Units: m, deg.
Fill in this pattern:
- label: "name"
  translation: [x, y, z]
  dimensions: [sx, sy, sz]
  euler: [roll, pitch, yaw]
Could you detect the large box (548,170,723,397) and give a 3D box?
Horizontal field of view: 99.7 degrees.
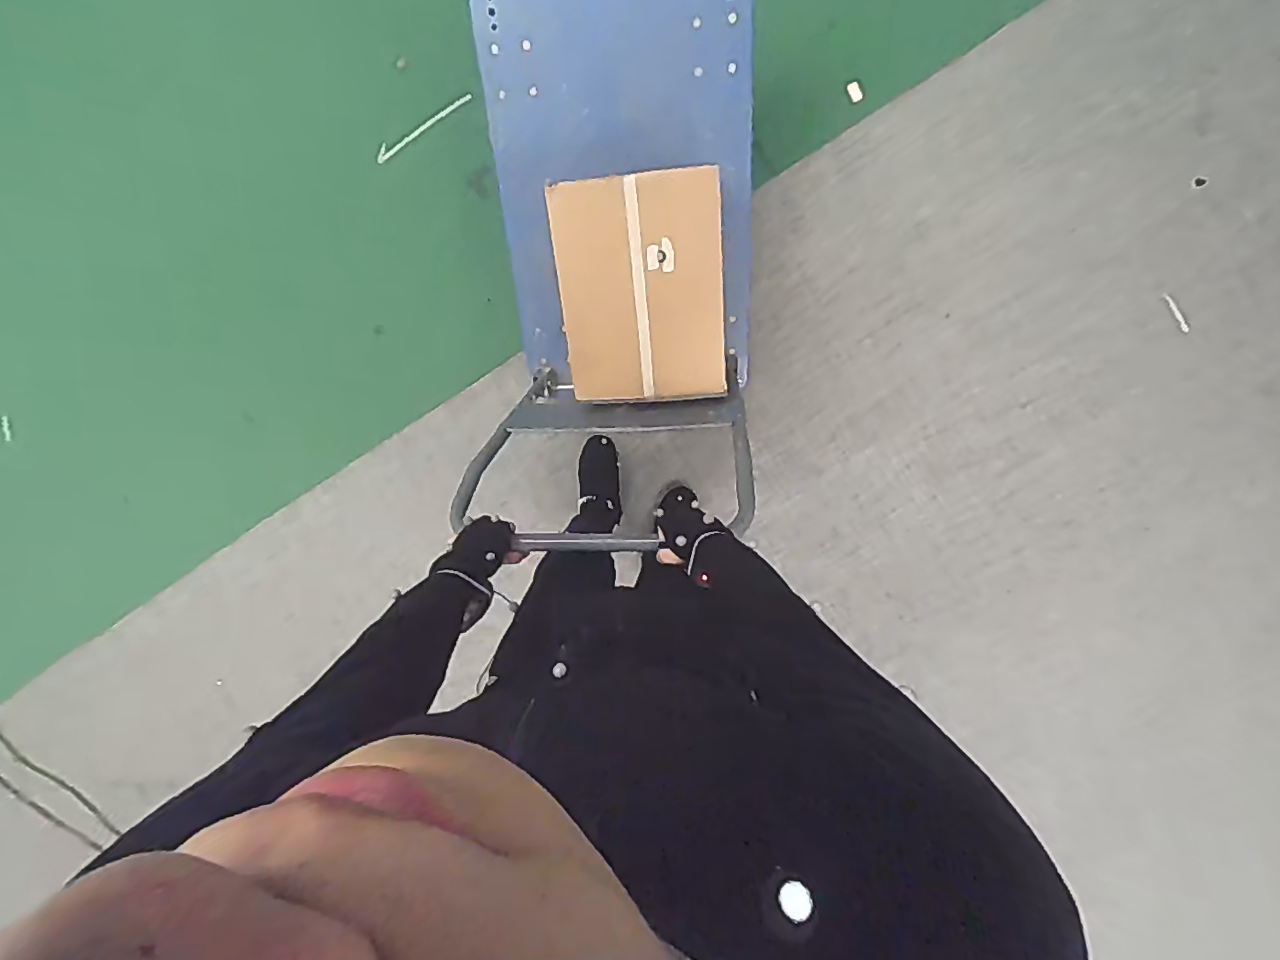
- label: "large box"
  translation: [0.018, -0.423, 1.185]
  dimensions: [0.320, 0.320, 0.408]
  euler: [-2, 115, 8]
